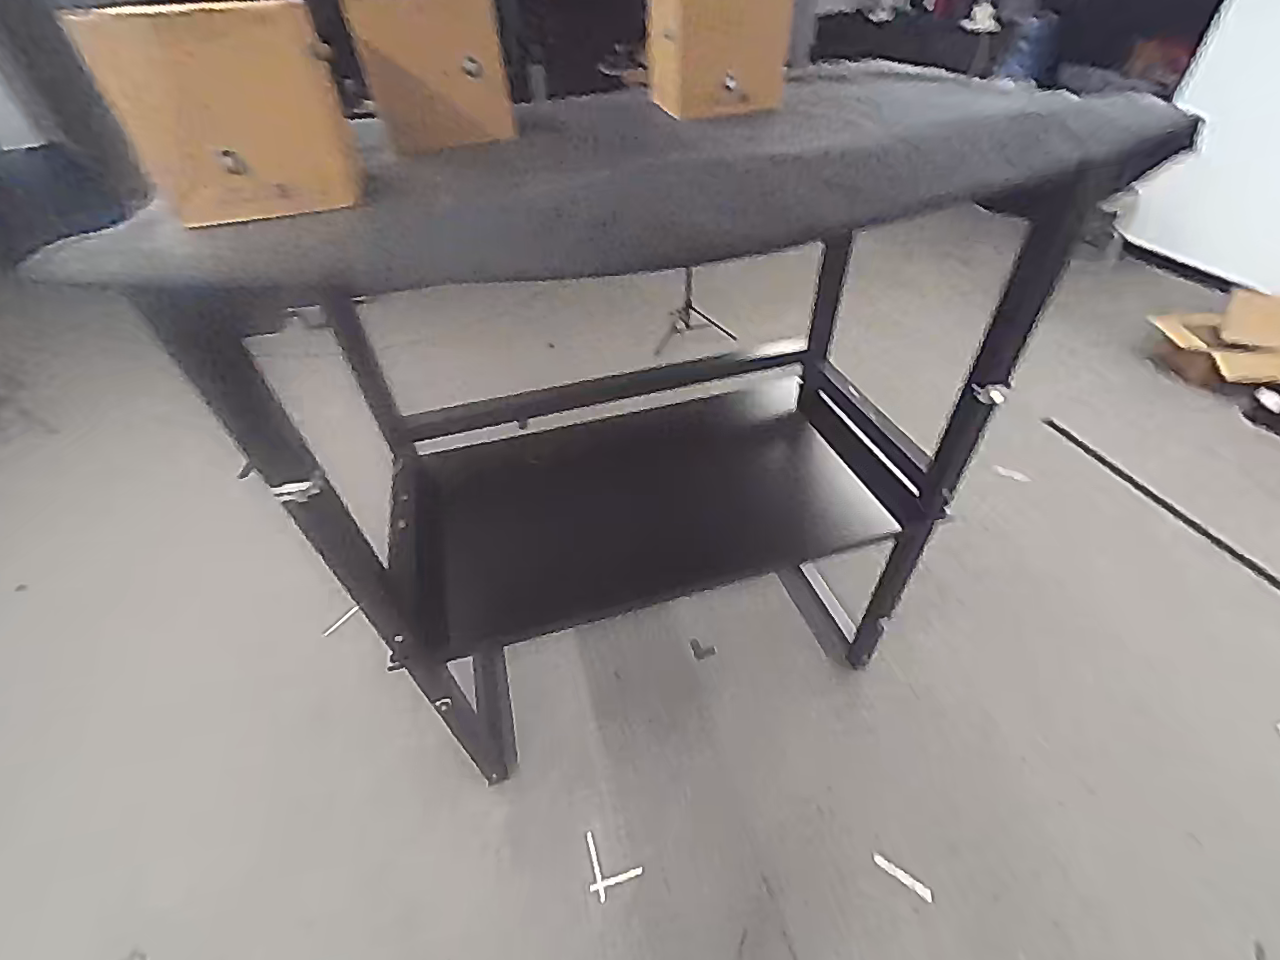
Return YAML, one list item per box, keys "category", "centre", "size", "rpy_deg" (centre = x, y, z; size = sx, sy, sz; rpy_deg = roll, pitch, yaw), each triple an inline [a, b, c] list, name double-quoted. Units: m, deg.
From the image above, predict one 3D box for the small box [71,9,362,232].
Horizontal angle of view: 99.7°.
- category: "small box"
  centre: [-0.409, -0.378, 0.566]
  size: [0.168, 0.176, 0.179]
  rpy_deg: [-15, 44, -13]

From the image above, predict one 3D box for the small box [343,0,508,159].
- category: "small box"
  centre: [-0.291, -0.573, 0.763]
  size: [0.179, 0.176, 0.168]
  rpy_deg: [-15, 45, -13]
